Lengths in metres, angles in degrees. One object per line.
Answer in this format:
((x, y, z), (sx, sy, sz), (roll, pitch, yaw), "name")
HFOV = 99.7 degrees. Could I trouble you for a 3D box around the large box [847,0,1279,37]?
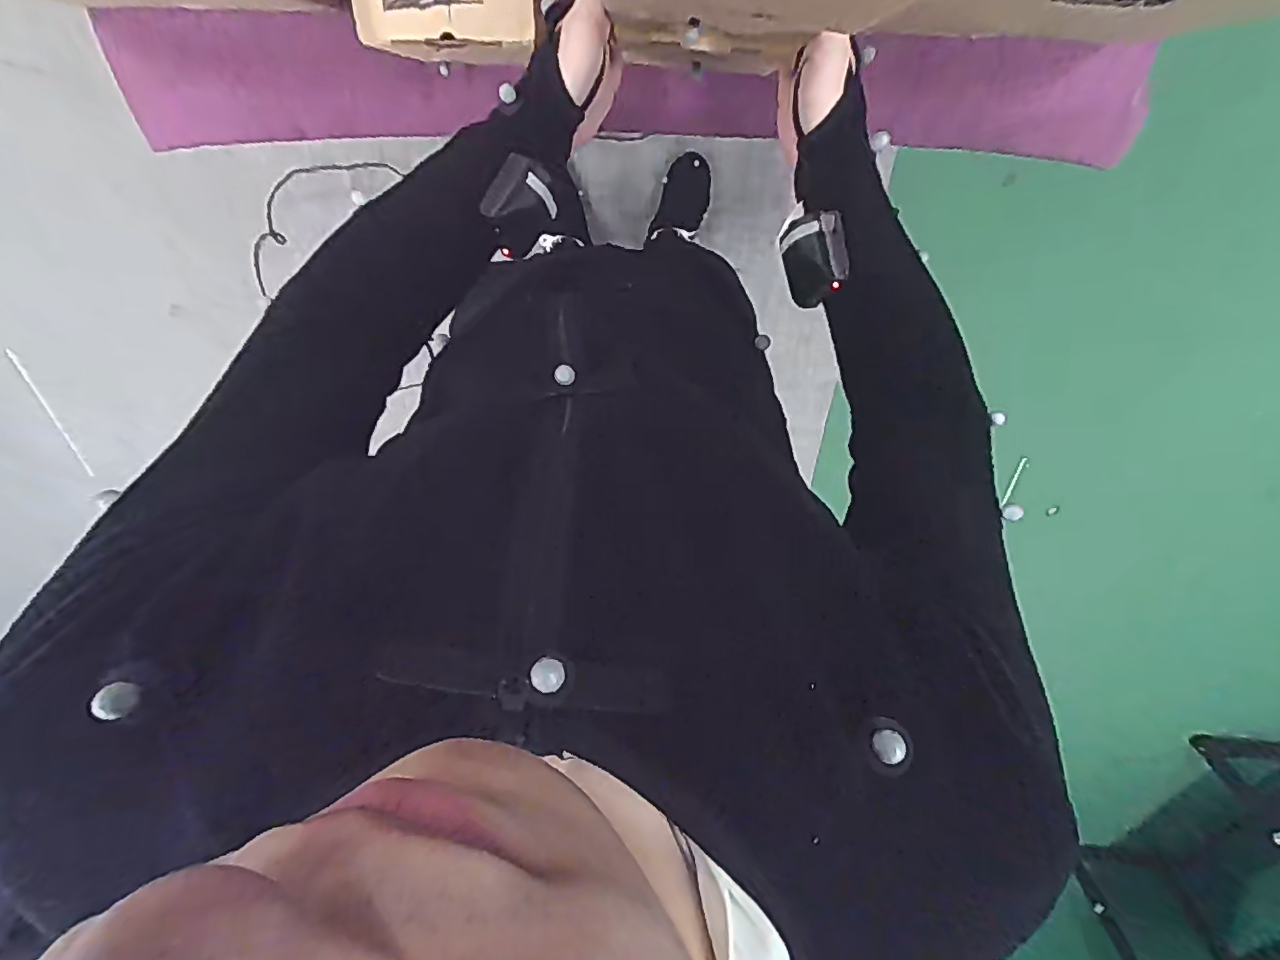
((0.377, -0.579, 0.367), (0.320, 0.320, 0.408), (3, 124, 1), "large box")
